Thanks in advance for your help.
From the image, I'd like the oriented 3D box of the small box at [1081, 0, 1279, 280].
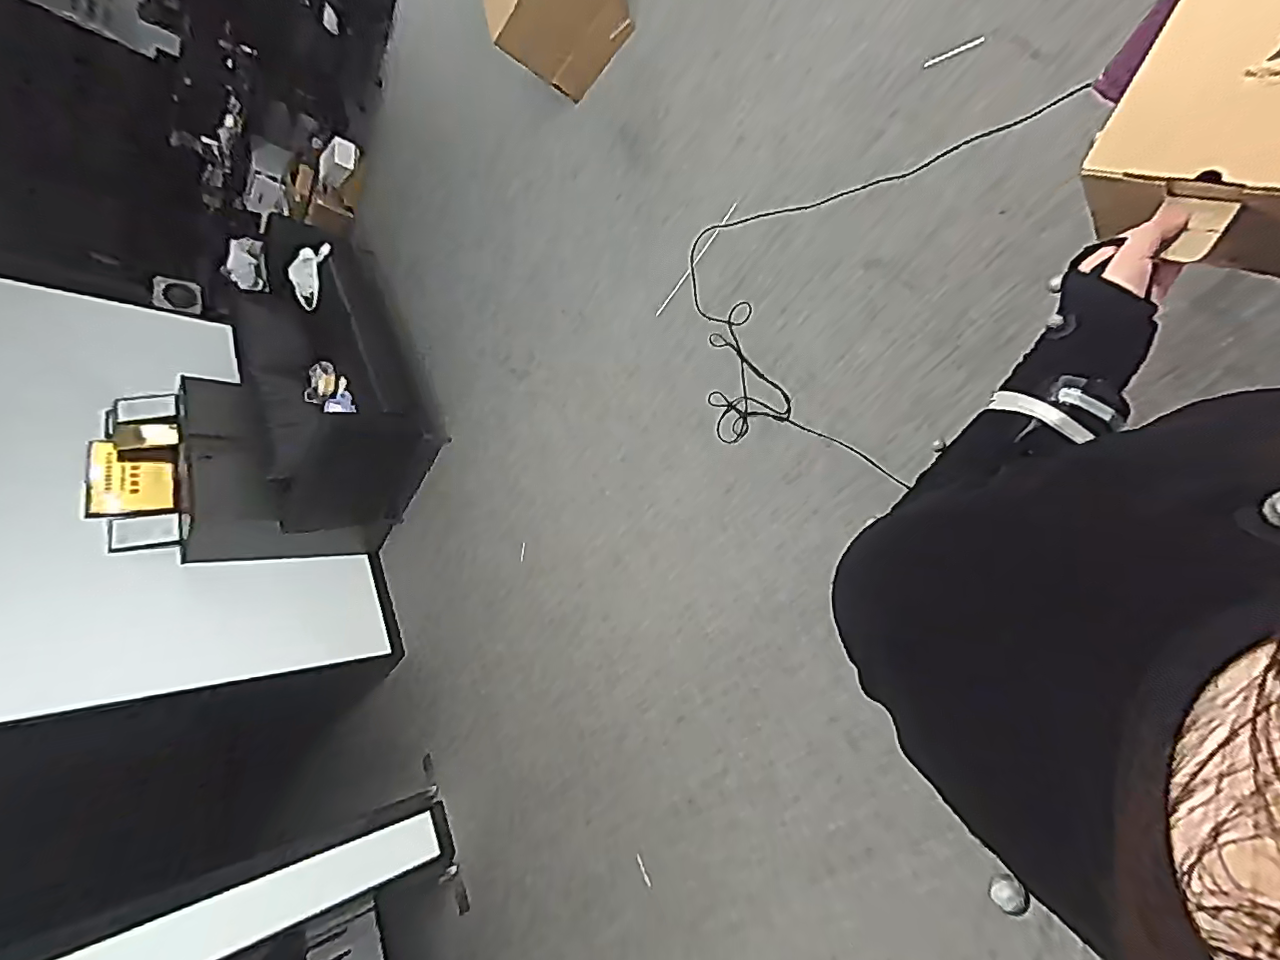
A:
[{"bbox_3d":[0.503,-0.288,0.433,0.168,0.176,0.179,39,114,39],"label":"small box"}]
